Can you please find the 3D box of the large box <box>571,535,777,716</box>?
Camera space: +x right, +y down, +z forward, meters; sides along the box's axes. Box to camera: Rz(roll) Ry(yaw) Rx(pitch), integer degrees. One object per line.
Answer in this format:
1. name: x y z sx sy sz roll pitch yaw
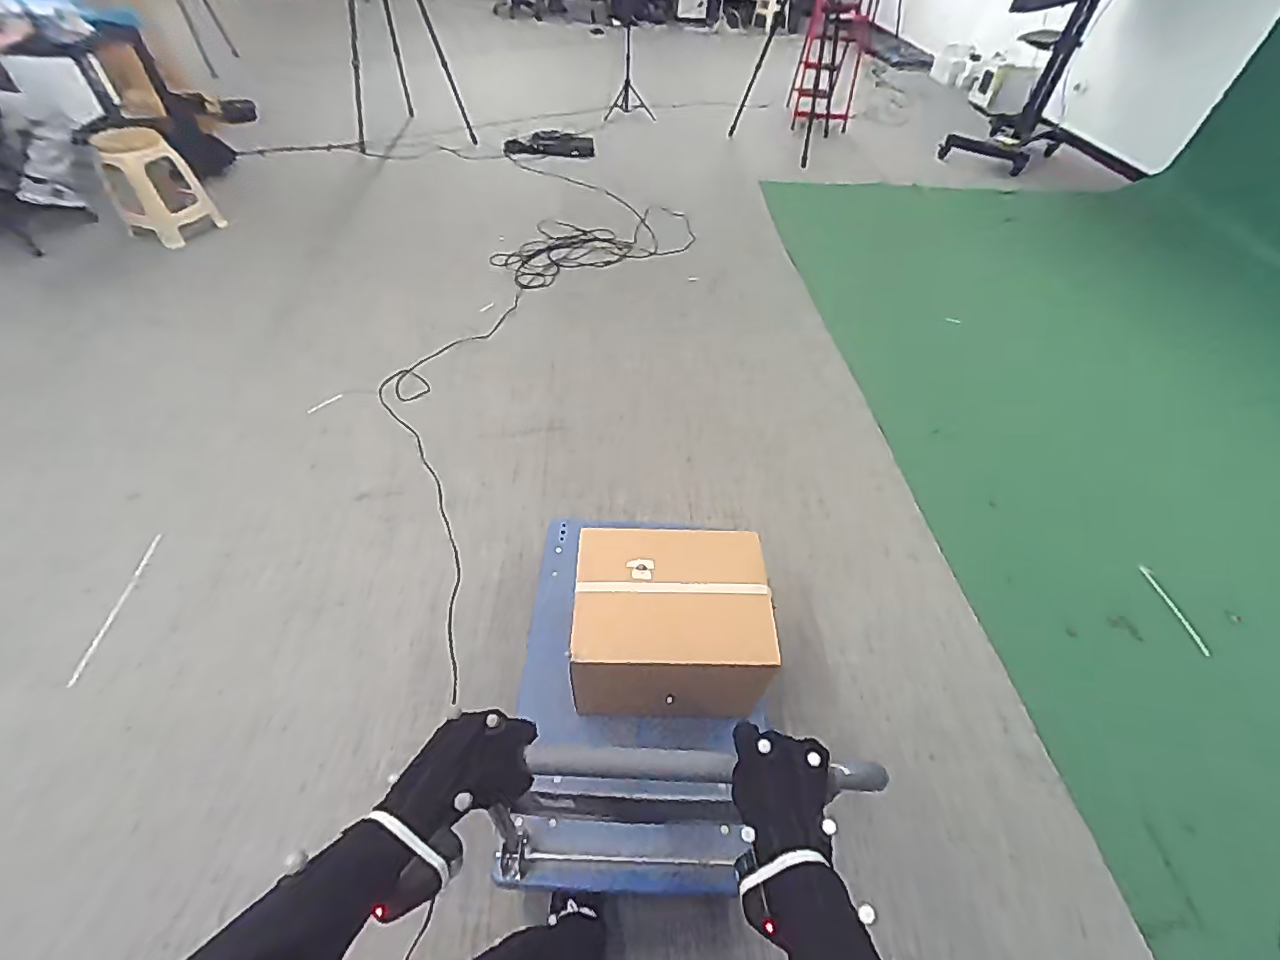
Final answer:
1. large box: 0.064 0.339 1.242 0.408 0.320 0.320 1 48 -1
